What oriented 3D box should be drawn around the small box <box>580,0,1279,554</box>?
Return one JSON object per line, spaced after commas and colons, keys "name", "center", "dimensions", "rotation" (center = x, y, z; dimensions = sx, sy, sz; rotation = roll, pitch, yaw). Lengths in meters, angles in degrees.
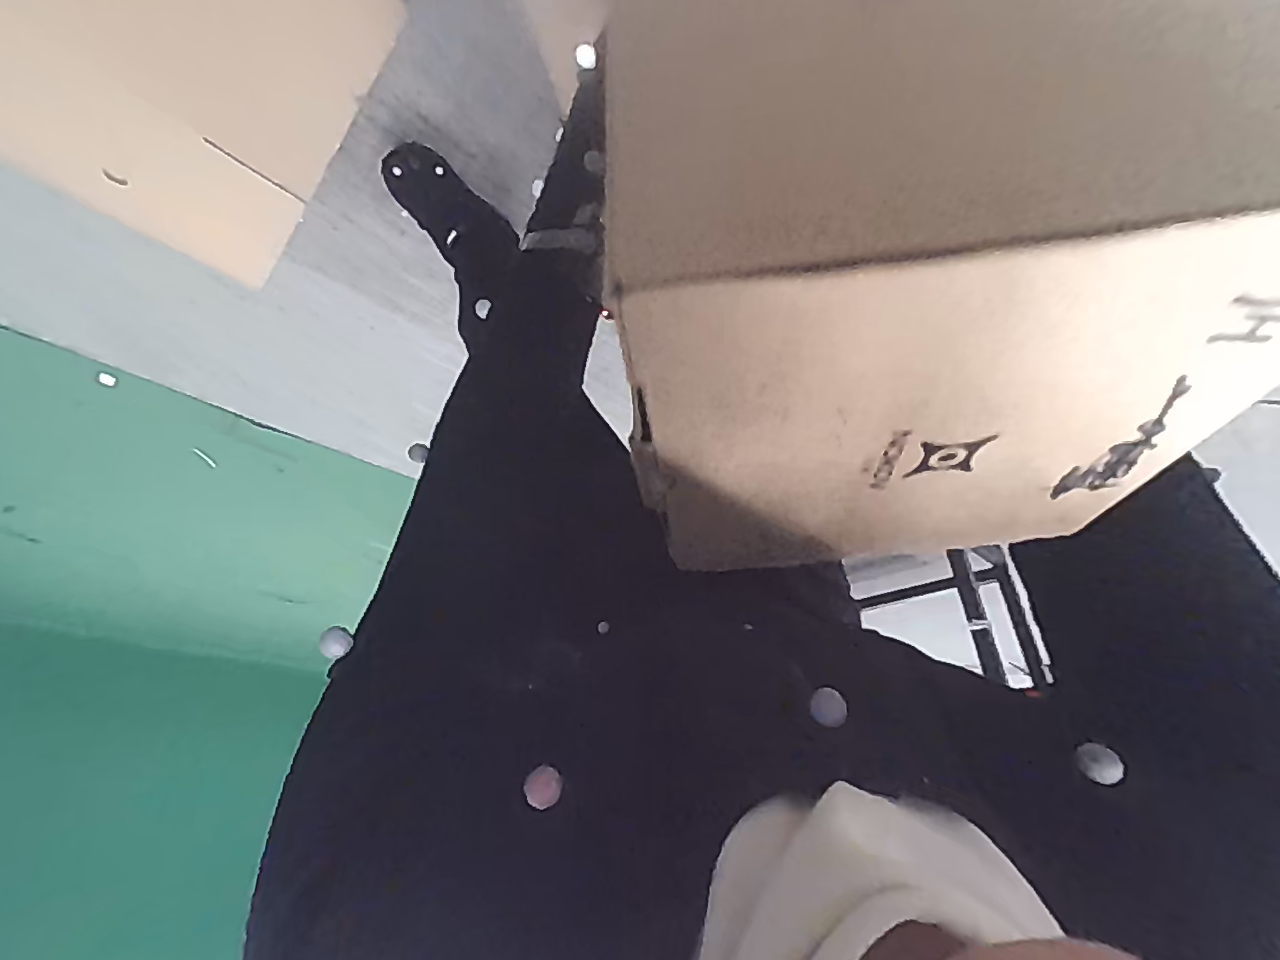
{"name": "small box", "center": [0.084, -0.087, 0.216], "dimensions": [0.179, 0.176, 0.168], "rotation": [-7, 148, 8]}
